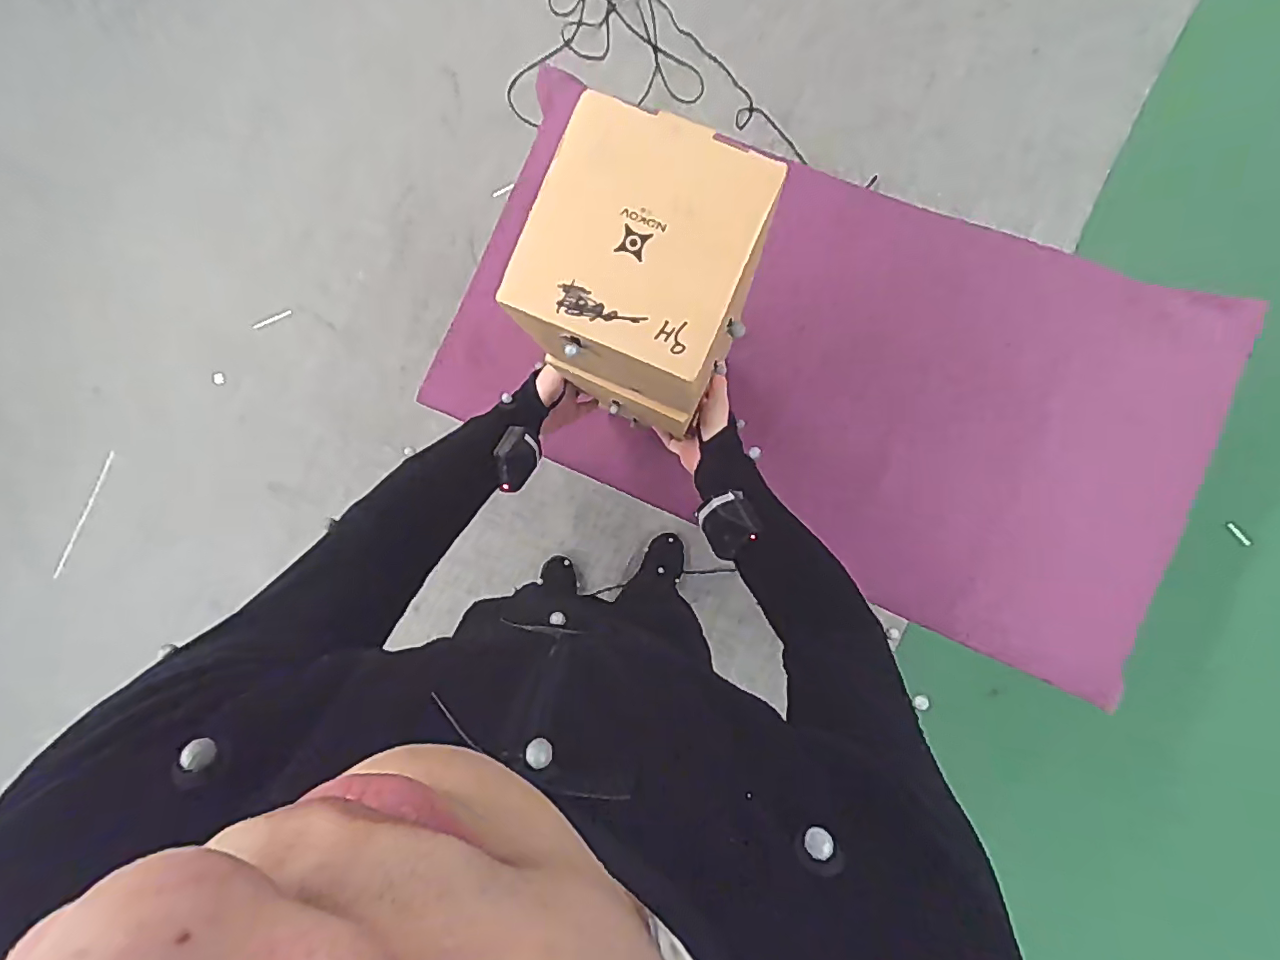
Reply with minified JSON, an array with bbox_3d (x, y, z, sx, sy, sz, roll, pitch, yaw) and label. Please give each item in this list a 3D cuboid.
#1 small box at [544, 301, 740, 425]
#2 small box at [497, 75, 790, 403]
[{"bbox_3d":[0.013,-0.177,0.636,0.168,0.176,0.179,25,91,4],"label":"small box"},{"bbox_3d":[0.006,-0.186,0.472,0.168,0.176,0.179,24,91,5],"label":"small box"}]
